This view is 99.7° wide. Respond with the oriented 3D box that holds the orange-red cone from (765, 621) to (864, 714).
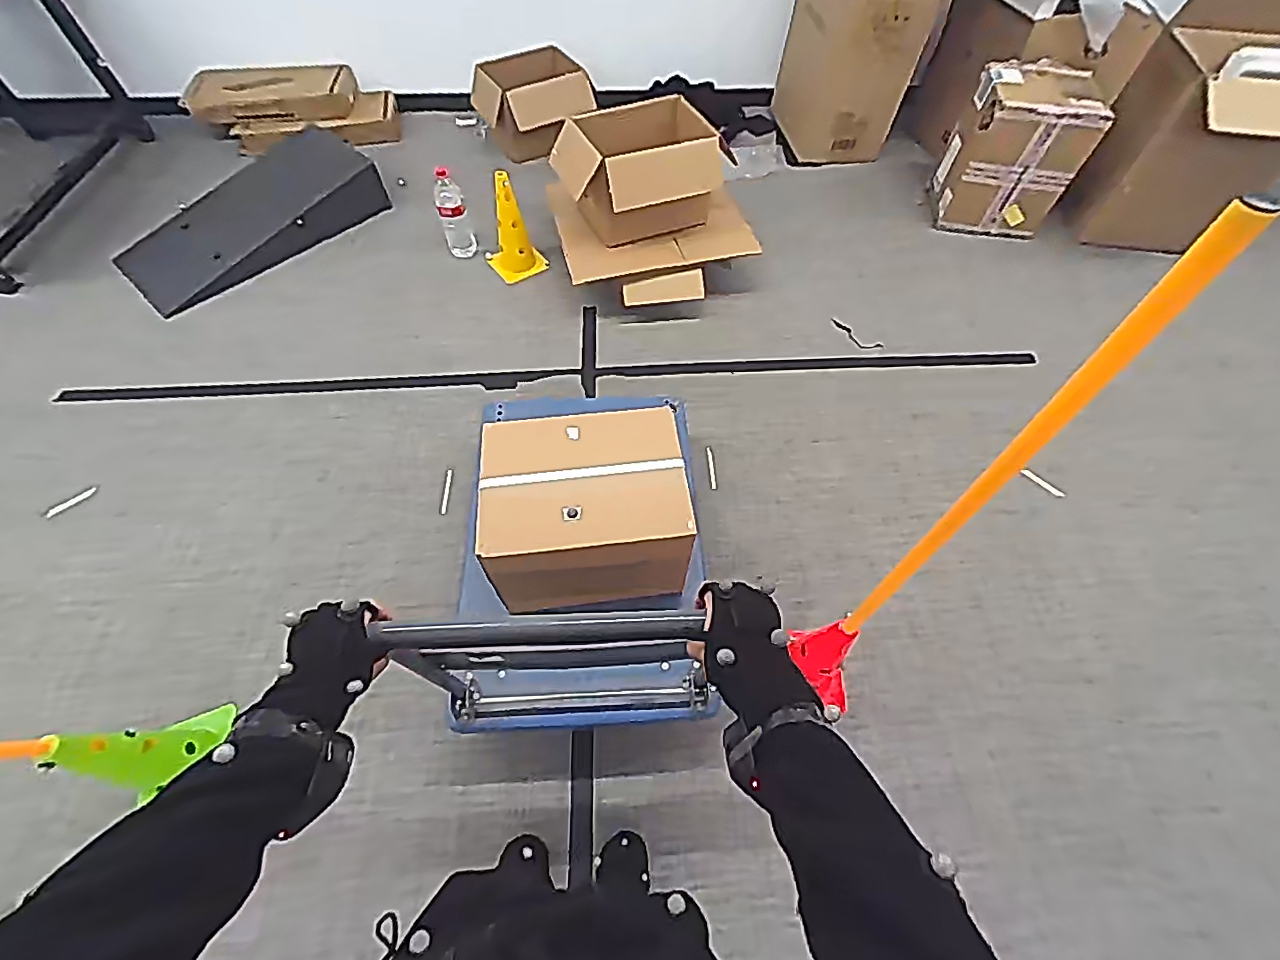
[{"bbox_3d":[0.412,0.378,1.188,0.199,0.360,0.198,4,59,1],"label":"orange-red cone"}]
